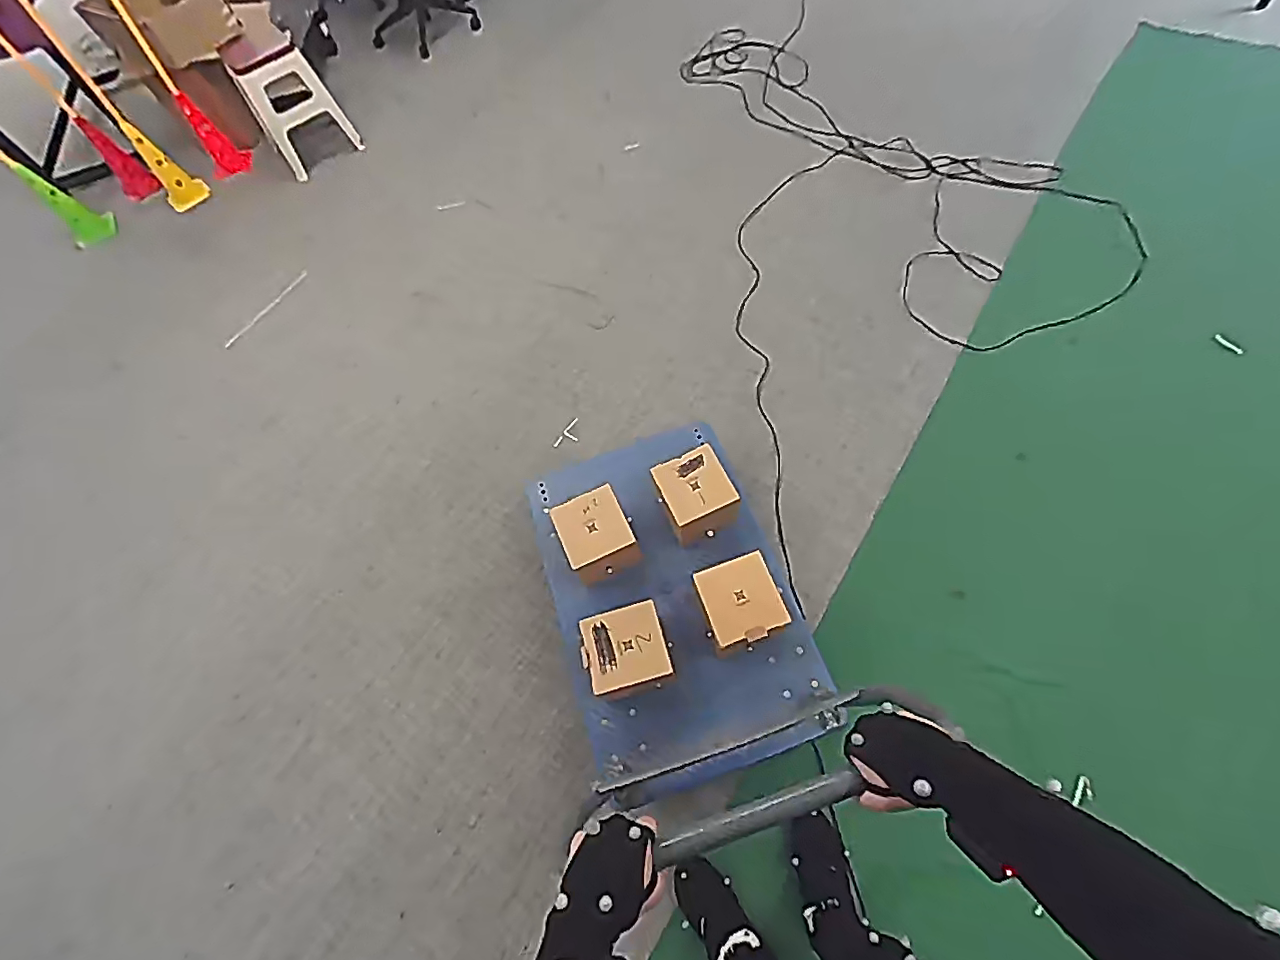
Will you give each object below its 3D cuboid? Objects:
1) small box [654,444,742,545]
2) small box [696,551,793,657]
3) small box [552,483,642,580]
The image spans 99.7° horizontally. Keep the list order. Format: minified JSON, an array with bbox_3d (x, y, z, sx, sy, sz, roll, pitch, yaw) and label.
[{"bbox_3d":[0.147,0.042,1.394,0.168,0.176,0.179,-24,64,-4],"label":"small box"},{"bbox_3d":[0.234,0.293,1.260,0.168,0.176,0.179,-19,64,-2],"label":"small box"},{"bbox_3d":[-0.104,0.141,1.376,0.168,0.176,0.179,-23,63,-5],"label":"small box"}]
